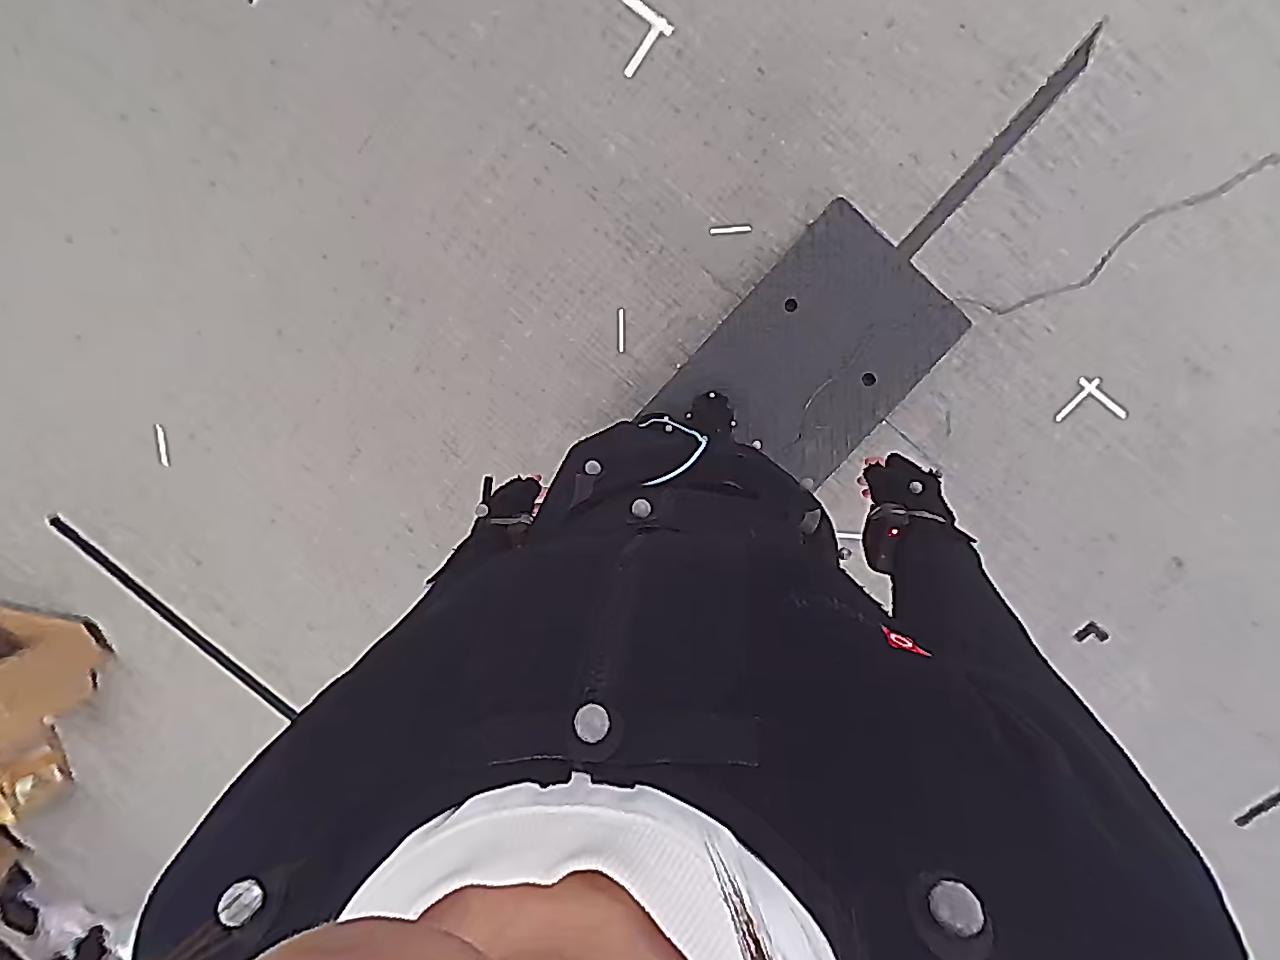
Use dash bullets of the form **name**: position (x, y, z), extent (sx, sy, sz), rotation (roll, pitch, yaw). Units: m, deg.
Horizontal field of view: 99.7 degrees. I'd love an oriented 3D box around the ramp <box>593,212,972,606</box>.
- **ramp**: position (0.375, -0.189, 1.446), extent (0.509, 0.206, 0.991), rotation (40, 101, 1)
